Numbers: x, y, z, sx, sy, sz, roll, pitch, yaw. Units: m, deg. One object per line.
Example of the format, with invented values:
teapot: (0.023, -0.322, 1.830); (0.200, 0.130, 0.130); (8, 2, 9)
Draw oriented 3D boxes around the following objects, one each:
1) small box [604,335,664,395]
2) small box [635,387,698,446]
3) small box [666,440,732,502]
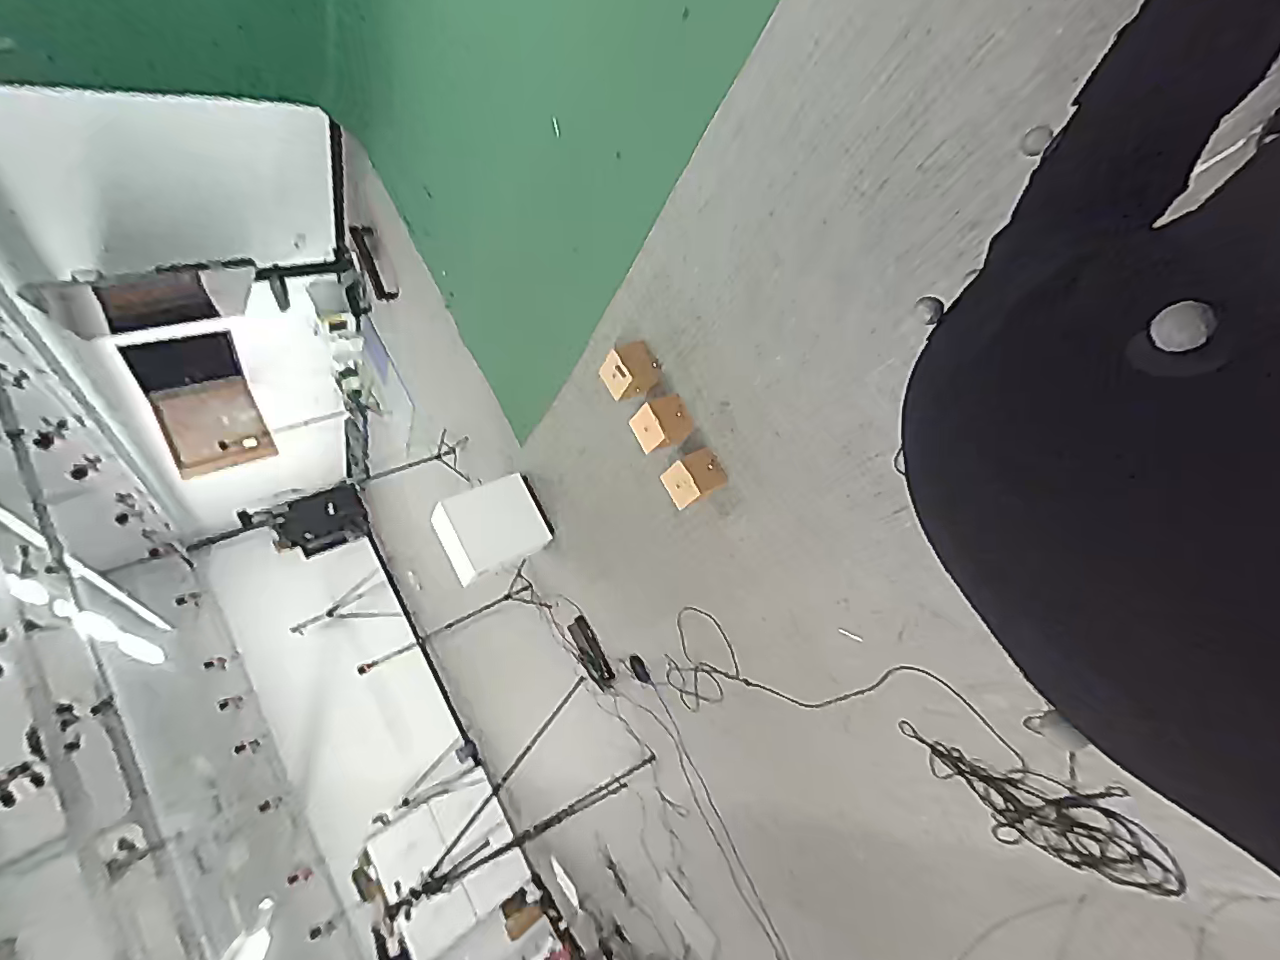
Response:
small box: (-0.020, -0.496, 2.307); (0.168, 0.176, 0.179); (59, 146, 11)
small box: (0.113, -0.267, 2.262); (0.168, 0.176, 0.179); (61, 145, 9)
small box: (0.243, -0.037, 2.214); (0.168, 0.176, 0.179); (59, 145, 10)
